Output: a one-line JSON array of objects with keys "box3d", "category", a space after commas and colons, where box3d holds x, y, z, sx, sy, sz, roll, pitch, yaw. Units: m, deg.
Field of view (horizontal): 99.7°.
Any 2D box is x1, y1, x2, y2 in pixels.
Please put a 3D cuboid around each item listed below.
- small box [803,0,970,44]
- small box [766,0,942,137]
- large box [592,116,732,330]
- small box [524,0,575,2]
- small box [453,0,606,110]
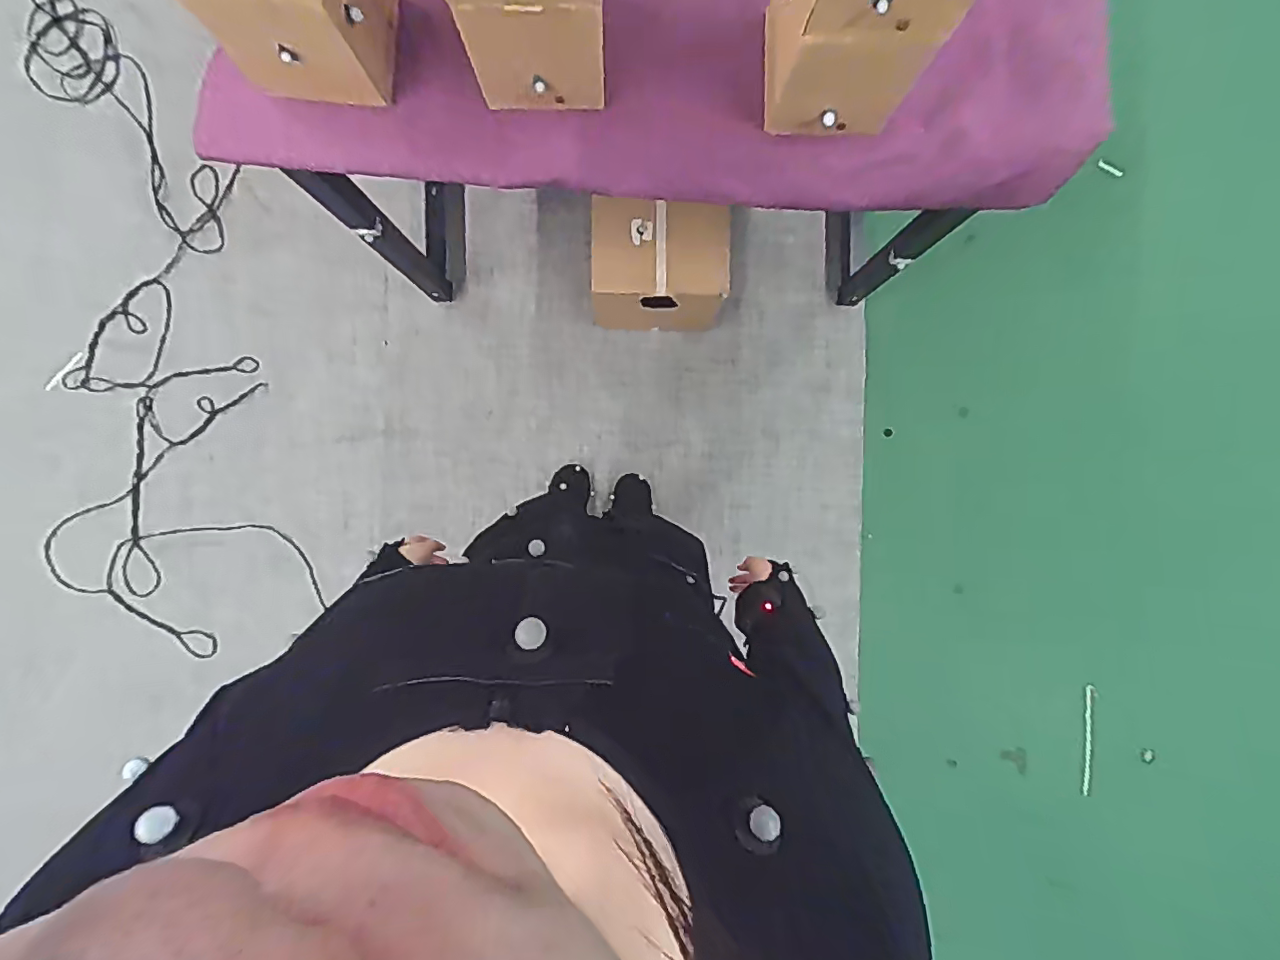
[{"box3d": [0.267, -0.584, 0.532, 0.168, 0.176, 0.179, 0, 91, -1], "category": "small box"}, {"box3d": [0.263, -0.581, 0.694, 0.168, 0.176, 0.179, 1, 91, -1], "category": "small box"}, {"box3d": [0.047, -0.614, 1.353, 0.320, 0.320, 0.408, 0, 92, 0], "category": "large box"}, {"box3d": [-0.129, -0.612, 0.521, 0.179, 0.176, 0.168, -1, 89, -2], "category": "small box"}, {"box3d": [-0.131, -0.614, 0.685, 0.168, 0.176, 0.179, -1, 90, -1], "category": "small box"}]
